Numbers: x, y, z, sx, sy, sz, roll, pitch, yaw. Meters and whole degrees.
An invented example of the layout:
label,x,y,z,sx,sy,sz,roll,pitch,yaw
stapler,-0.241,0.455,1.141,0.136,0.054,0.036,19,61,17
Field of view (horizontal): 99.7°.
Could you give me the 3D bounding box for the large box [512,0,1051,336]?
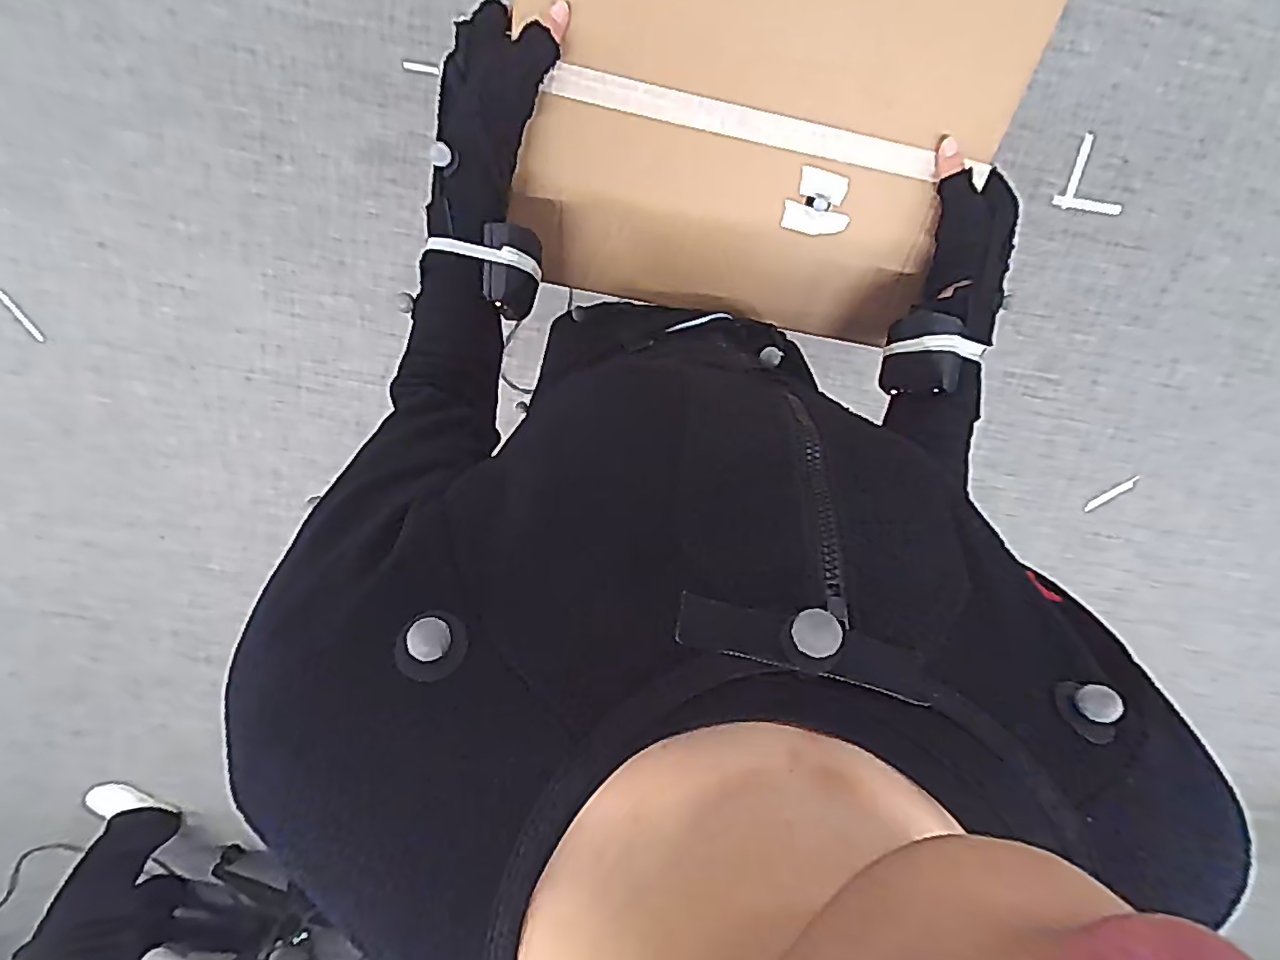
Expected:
label,x,y,z,sx,sy,sz,roll,pitch,yaw
large box,0.095,-0.380,0.578,0.408,0.320,0.320,9,122,-8
